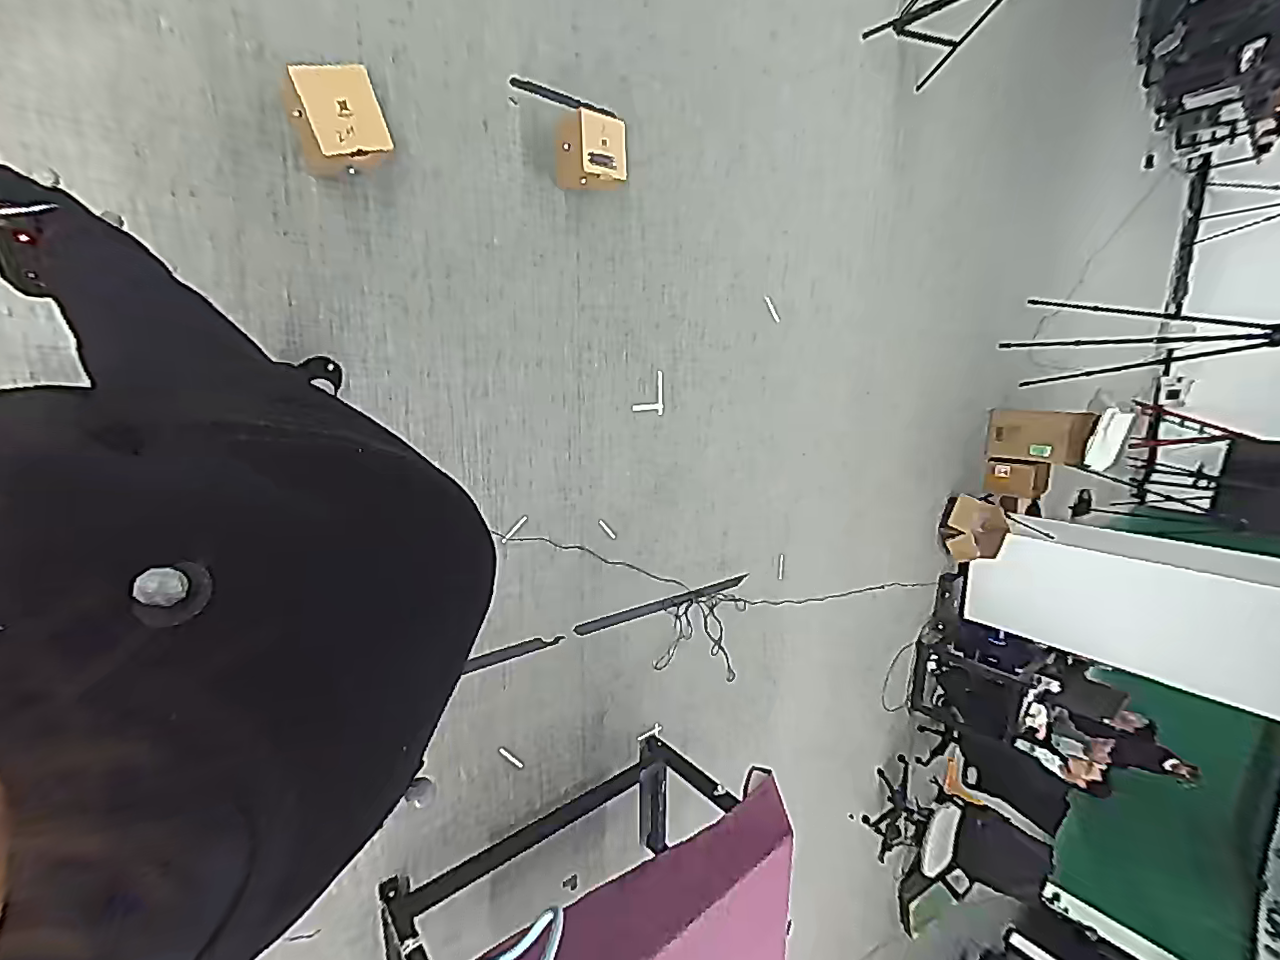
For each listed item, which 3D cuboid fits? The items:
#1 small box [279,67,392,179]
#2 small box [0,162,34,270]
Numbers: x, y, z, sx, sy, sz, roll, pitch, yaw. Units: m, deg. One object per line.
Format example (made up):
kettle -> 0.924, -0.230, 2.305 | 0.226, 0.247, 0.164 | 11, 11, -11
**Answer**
small box -> -0.727, -0.844, 1.286 | 0.168, 0.176, 0.179 | -30, 117, -32
small box -> -0.716, -0.295, 0.500 | 0.168, 0.176, 0.179 | -22, 127, -36
